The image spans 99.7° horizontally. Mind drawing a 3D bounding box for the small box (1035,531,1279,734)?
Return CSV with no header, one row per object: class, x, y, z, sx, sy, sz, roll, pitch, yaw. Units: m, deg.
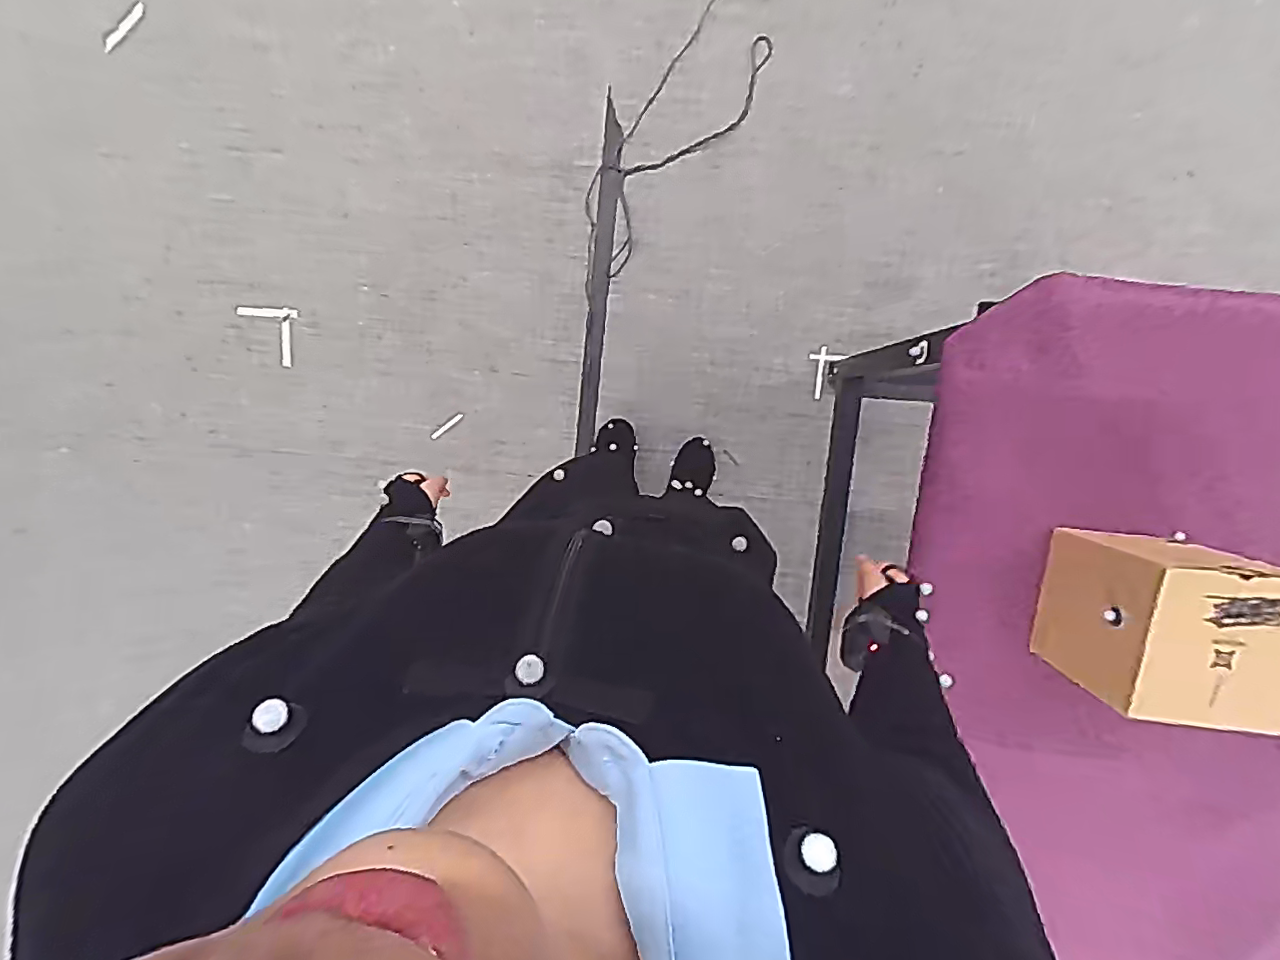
small box,0.620,0.168,0.649,0.168,0.176,0.179,6,99,3
